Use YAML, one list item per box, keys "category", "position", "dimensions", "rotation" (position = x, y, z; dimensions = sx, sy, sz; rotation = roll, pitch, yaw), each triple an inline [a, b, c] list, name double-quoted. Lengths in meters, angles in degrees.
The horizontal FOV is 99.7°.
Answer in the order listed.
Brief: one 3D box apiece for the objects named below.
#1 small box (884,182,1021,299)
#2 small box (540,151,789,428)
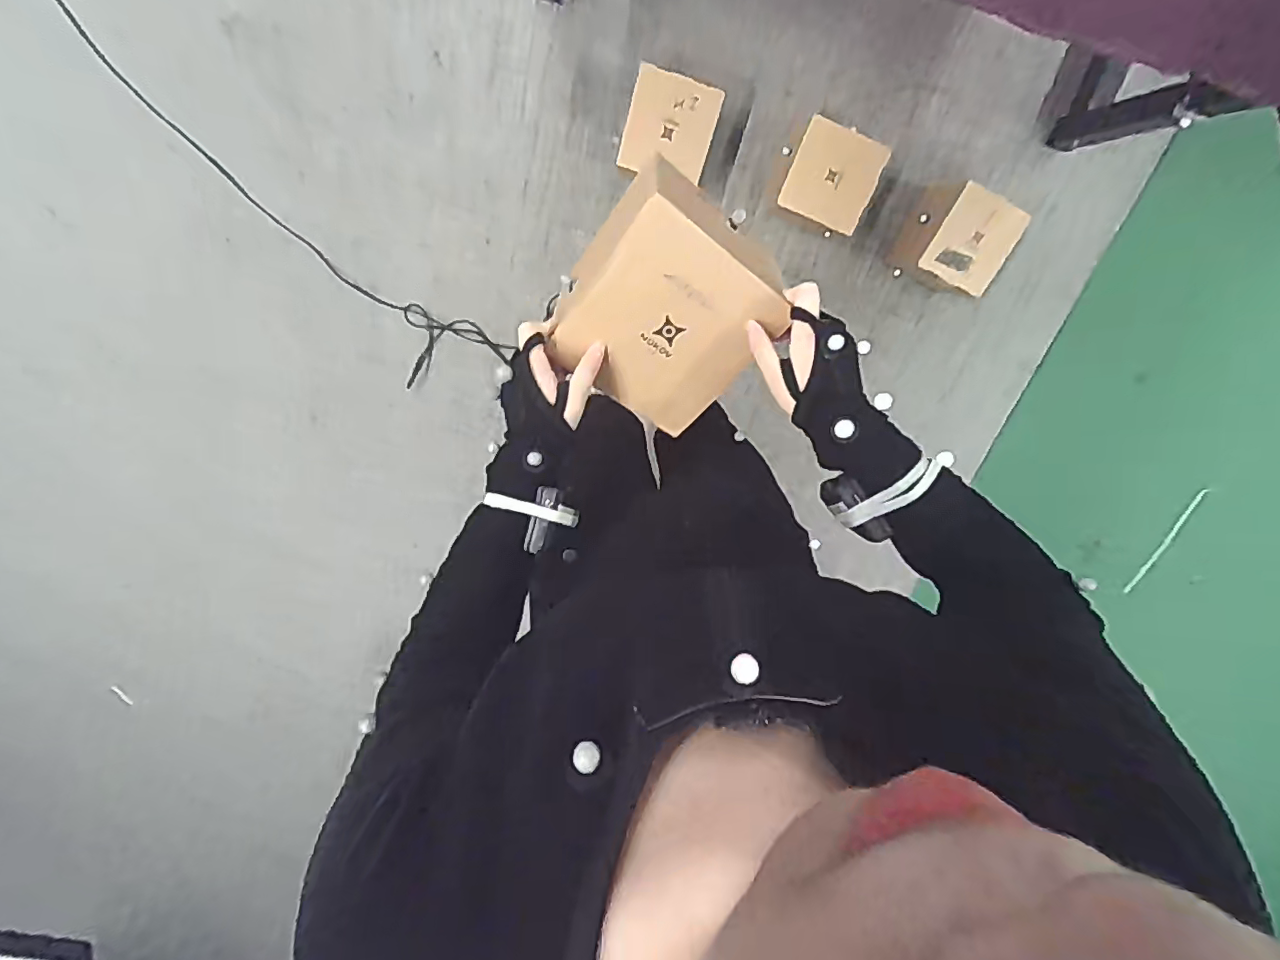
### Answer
- category: "small box"
  position: [0.671, -0.516, 1.191]
  dimensions: [0.168, 0.176, 0.179]
  rotation: [22, 106, -9]
- category: "small box"
  position: [0.023, -0.194, 0.555]
  dimensions: [0.168, 0.176, 0.179]
  rotation: [30, 126, -23]
